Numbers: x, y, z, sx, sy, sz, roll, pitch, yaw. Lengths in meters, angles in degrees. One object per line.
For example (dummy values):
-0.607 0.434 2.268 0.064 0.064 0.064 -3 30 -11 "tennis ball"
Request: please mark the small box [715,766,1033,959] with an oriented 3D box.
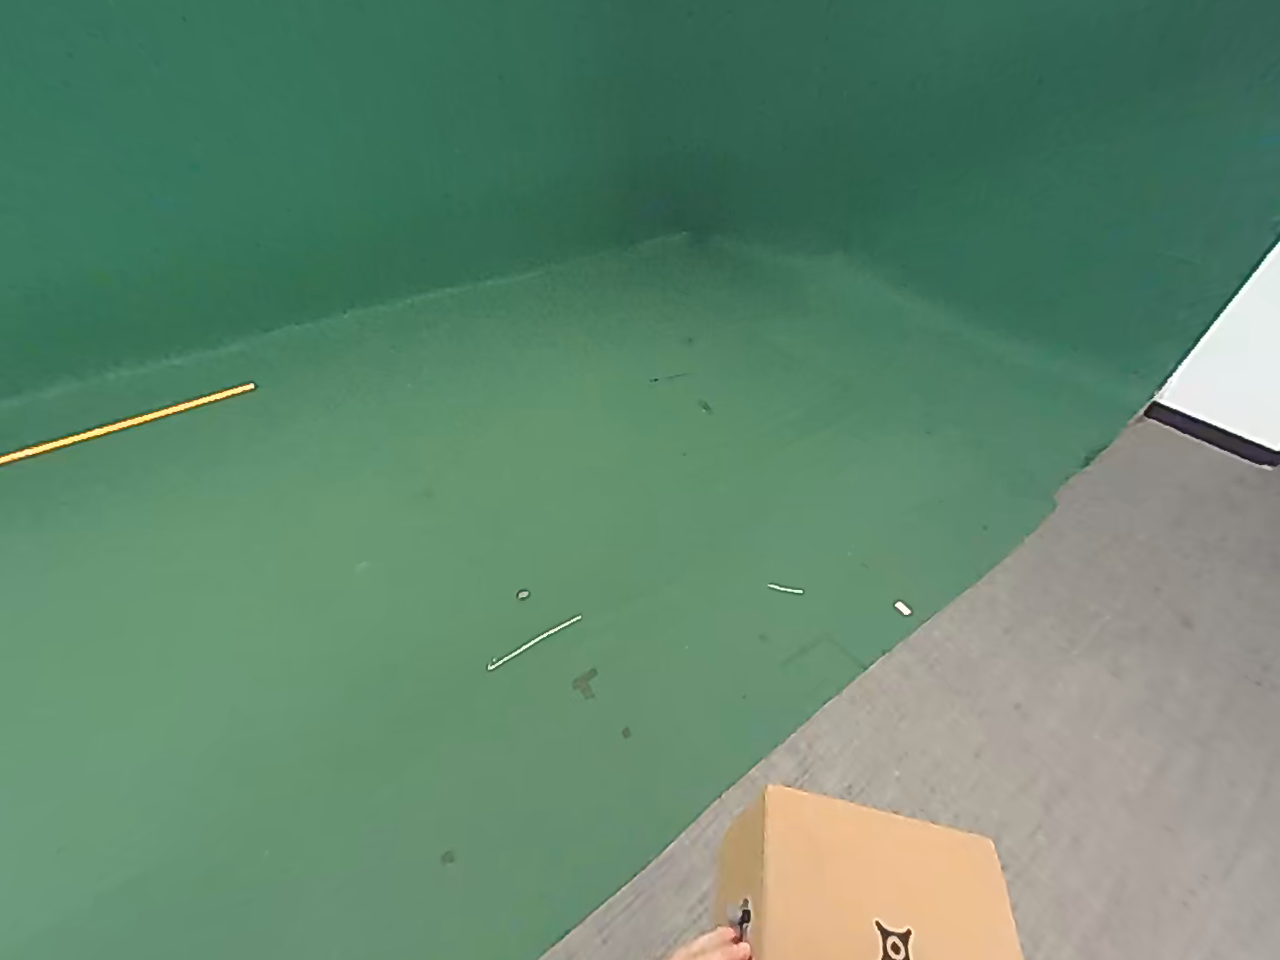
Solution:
0.150 0.342 0.385 0.168 0.176 0.179 13 44 4 "small box"
